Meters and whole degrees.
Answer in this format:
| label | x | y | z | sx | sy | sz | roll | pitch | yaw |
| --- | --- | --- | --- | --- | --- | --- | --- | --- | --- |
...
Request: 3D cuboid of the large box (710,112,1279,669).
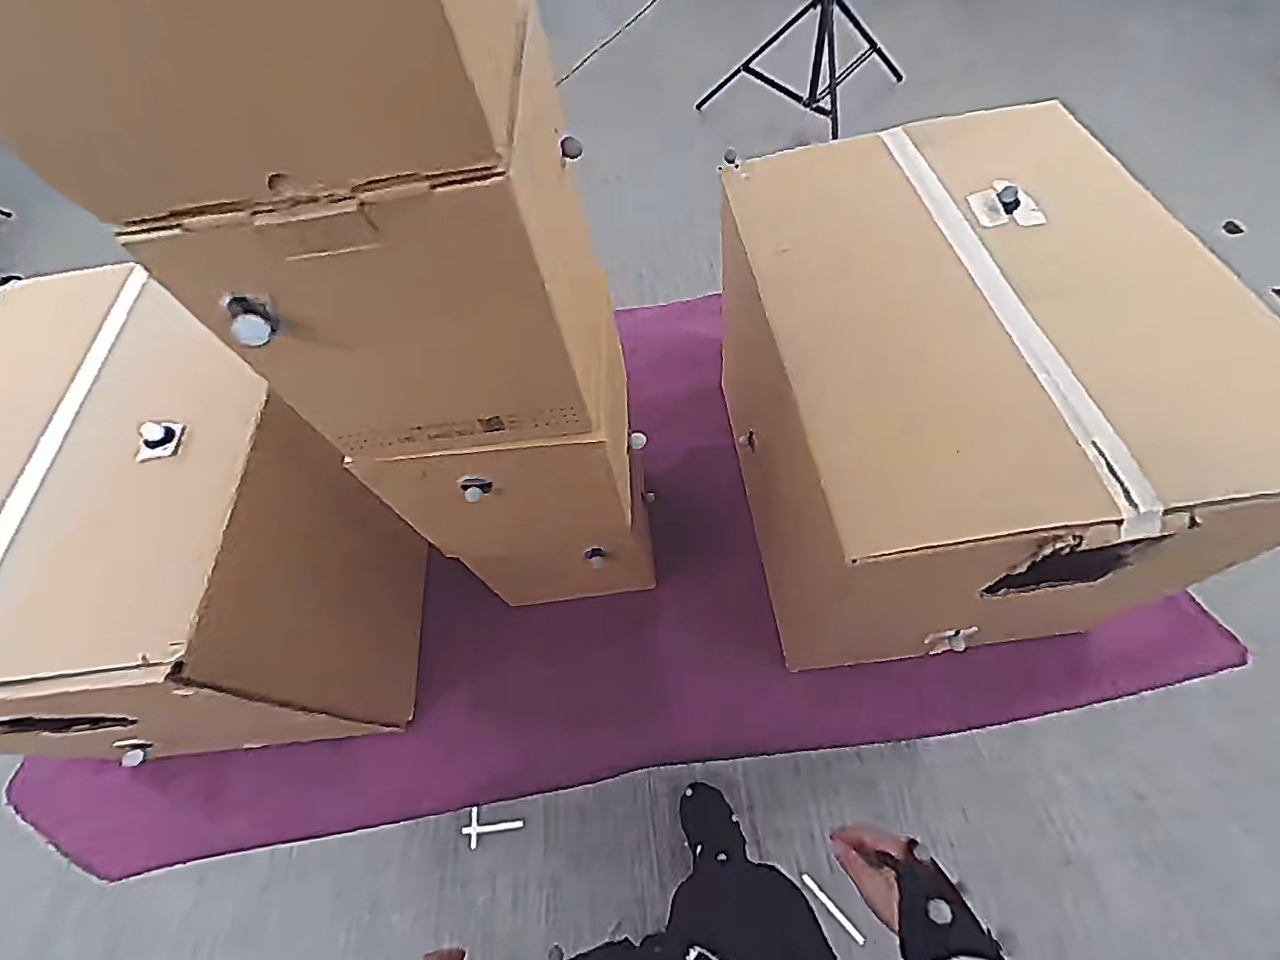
| label | x | y | z | sx | sy | sz | roll | pitch | yaw |
| --- | --- | --- | --- | --- | --- | --- | --- | --- | --- |
| large box | 0.262 | -0.072 | 0.529 | 0.320 | 0.320 | 0.408 | -9 | 58 | 2 |
